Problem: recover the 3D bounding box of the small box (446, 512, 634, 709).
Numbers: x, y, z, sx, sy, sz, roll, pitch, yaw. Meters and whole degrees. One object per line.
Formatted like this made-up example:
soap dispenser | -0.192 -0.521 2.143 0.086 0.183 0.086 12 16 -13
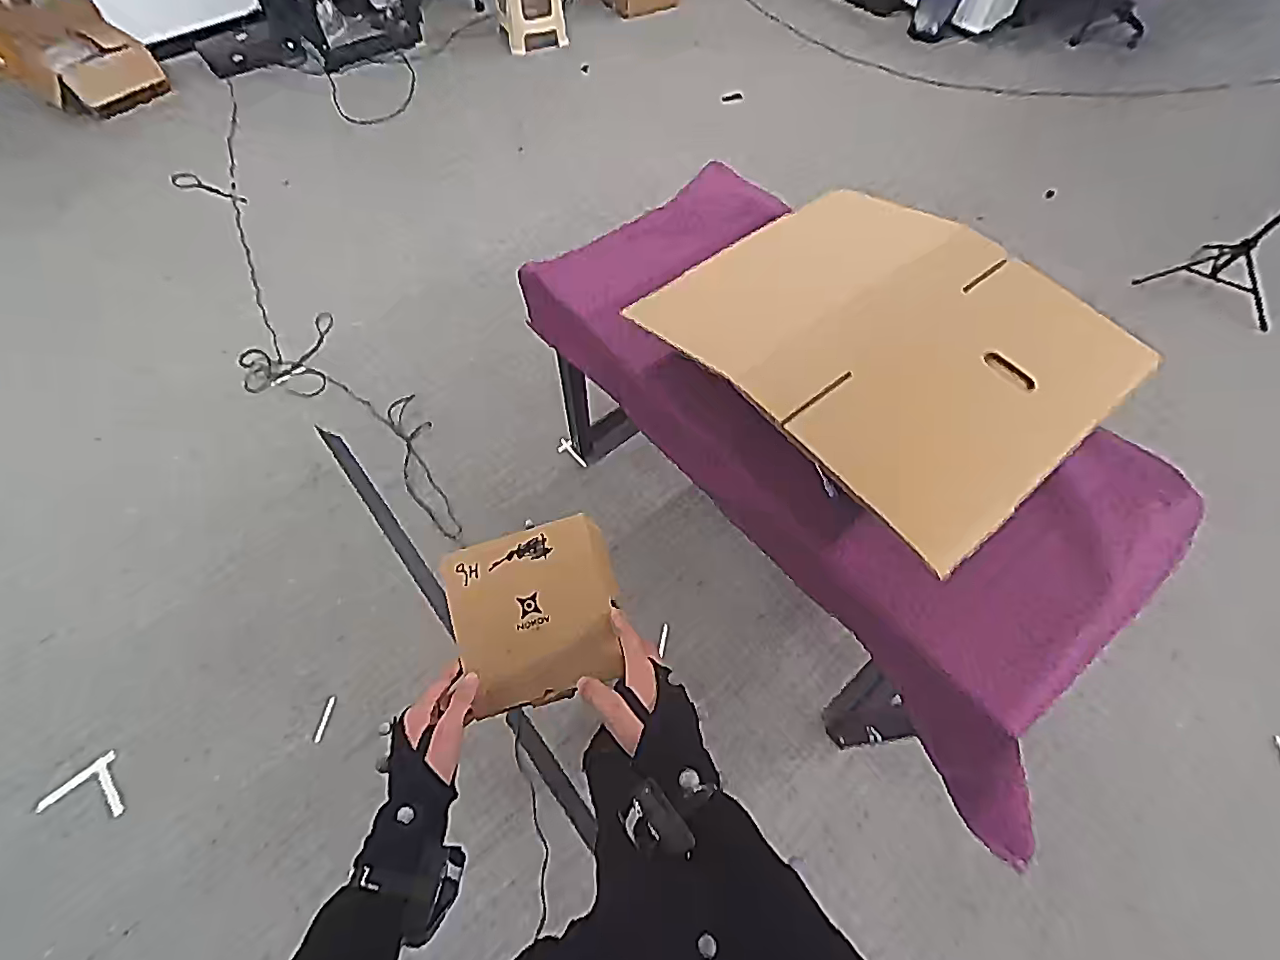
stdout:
small box | -0.108 0.150 0.654 0.168 0.176 0.179 -16 79 -1
